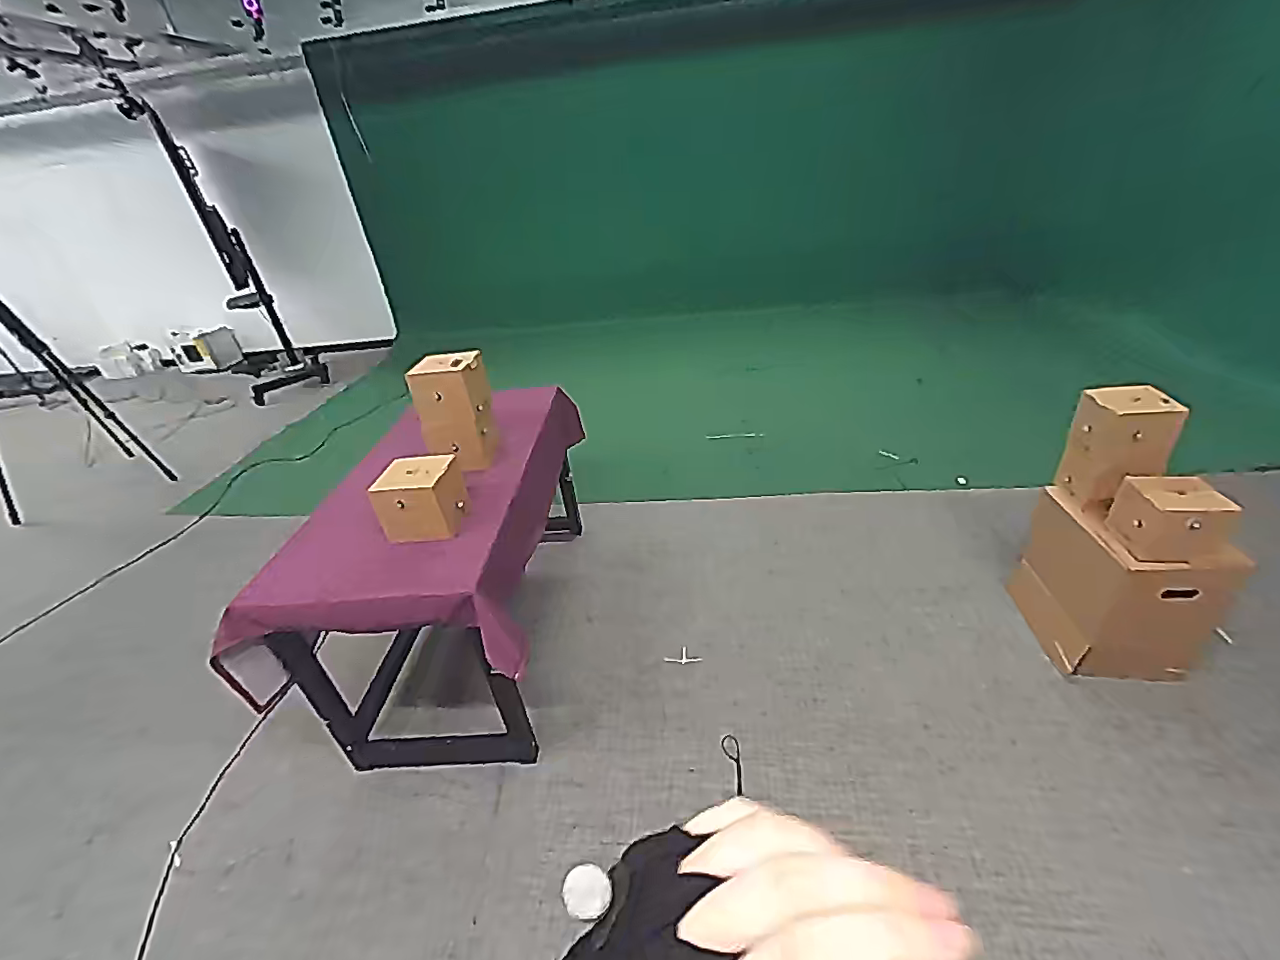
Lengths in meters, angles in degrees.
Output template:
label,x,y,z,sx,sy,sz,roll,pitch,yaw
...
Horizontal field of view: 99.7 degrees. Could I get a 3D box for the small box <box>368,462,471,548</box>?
label,x,y,z,sx,sy,sz,roll,pitch,yaw
small box,-0.577,0.069,1.437,0.179,0.176,0.168,-4,32,6

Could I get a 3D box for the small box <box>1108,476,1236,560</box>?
label,x,y,z,sx,sy,sz,roll,pitch,yaw
small box,1.411,0.102,1.454,0.179,0.176,0.168,-1,31,10

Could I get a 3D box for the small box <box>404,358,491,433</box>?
label,x,y,z,sx,sy,sz,roll,pitch,yaw
small box,-0.579,-0.258,1.656,0.179,0.176,0.168,-5,31,8

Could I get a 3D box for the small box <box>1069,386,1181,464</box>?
label,x,y,z,sx,sy,sz,roll,pitch,yaw
small box,1.393,-0.158,1.572,0.179,0.176,0.168,-4,33,10

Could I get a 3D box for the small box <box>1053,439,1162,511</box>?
label,x,y,z,sx,sy,sz,roll,pitch,yaw
small box,1.420,-0.020,1.657,0.179,0.176,0.168,-4,33,9
